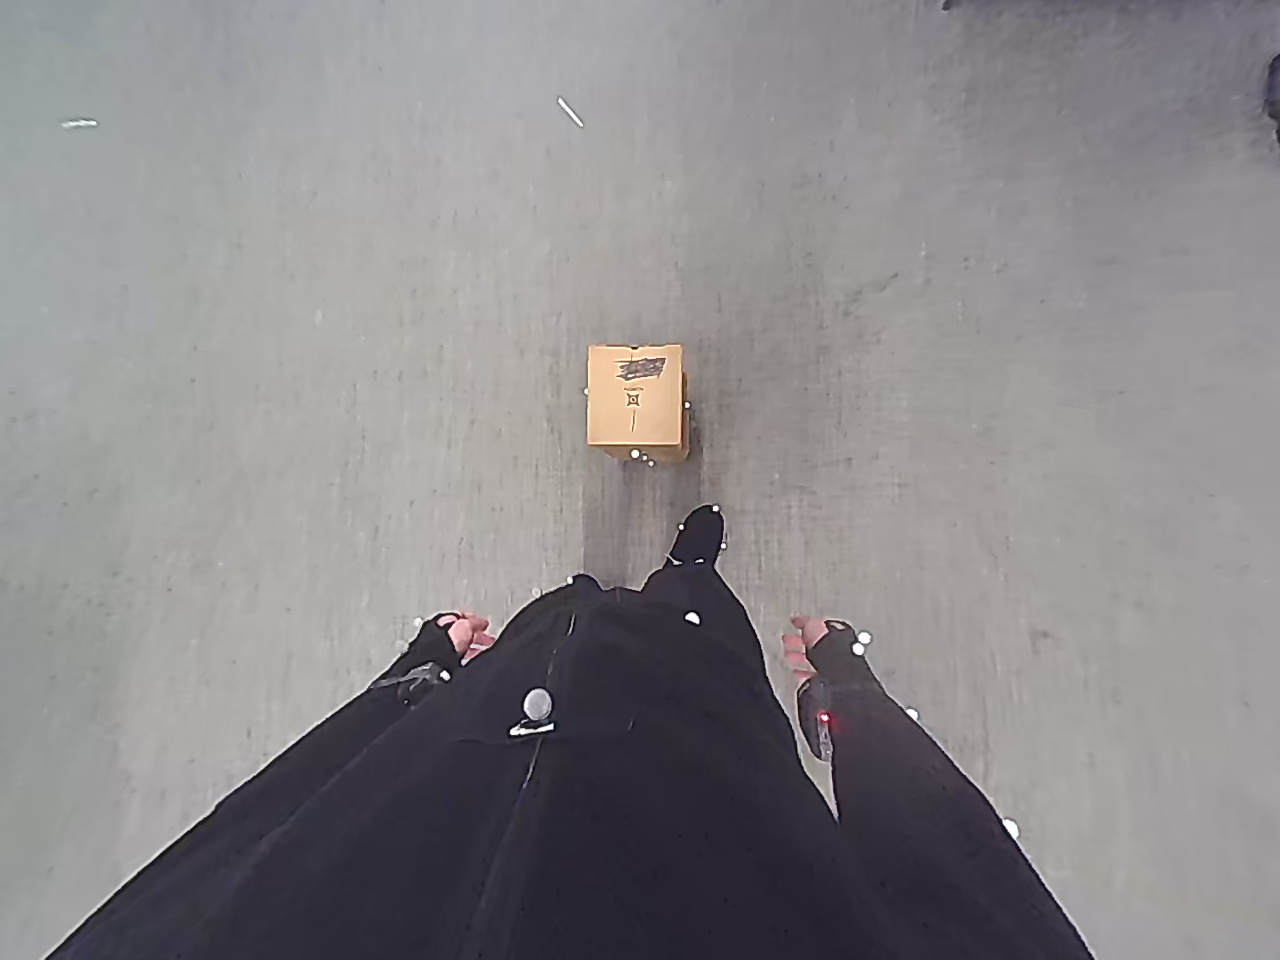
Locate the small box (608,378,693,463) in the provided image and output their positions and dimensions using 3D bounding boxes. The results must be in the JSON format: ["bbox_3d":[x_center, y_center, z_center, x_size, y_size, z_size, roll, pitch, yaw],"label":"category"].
[{"bbox_3d":[0.026,-0.126,1.187,0.179,0.176,0.168,0,88,3],"label":"small box"}]

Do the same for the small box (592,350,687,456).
[{"bbox_3d":[0.005,-0.139,1.024,0.168,0.176,0.179,1,89,5],"label":"small box"}]
